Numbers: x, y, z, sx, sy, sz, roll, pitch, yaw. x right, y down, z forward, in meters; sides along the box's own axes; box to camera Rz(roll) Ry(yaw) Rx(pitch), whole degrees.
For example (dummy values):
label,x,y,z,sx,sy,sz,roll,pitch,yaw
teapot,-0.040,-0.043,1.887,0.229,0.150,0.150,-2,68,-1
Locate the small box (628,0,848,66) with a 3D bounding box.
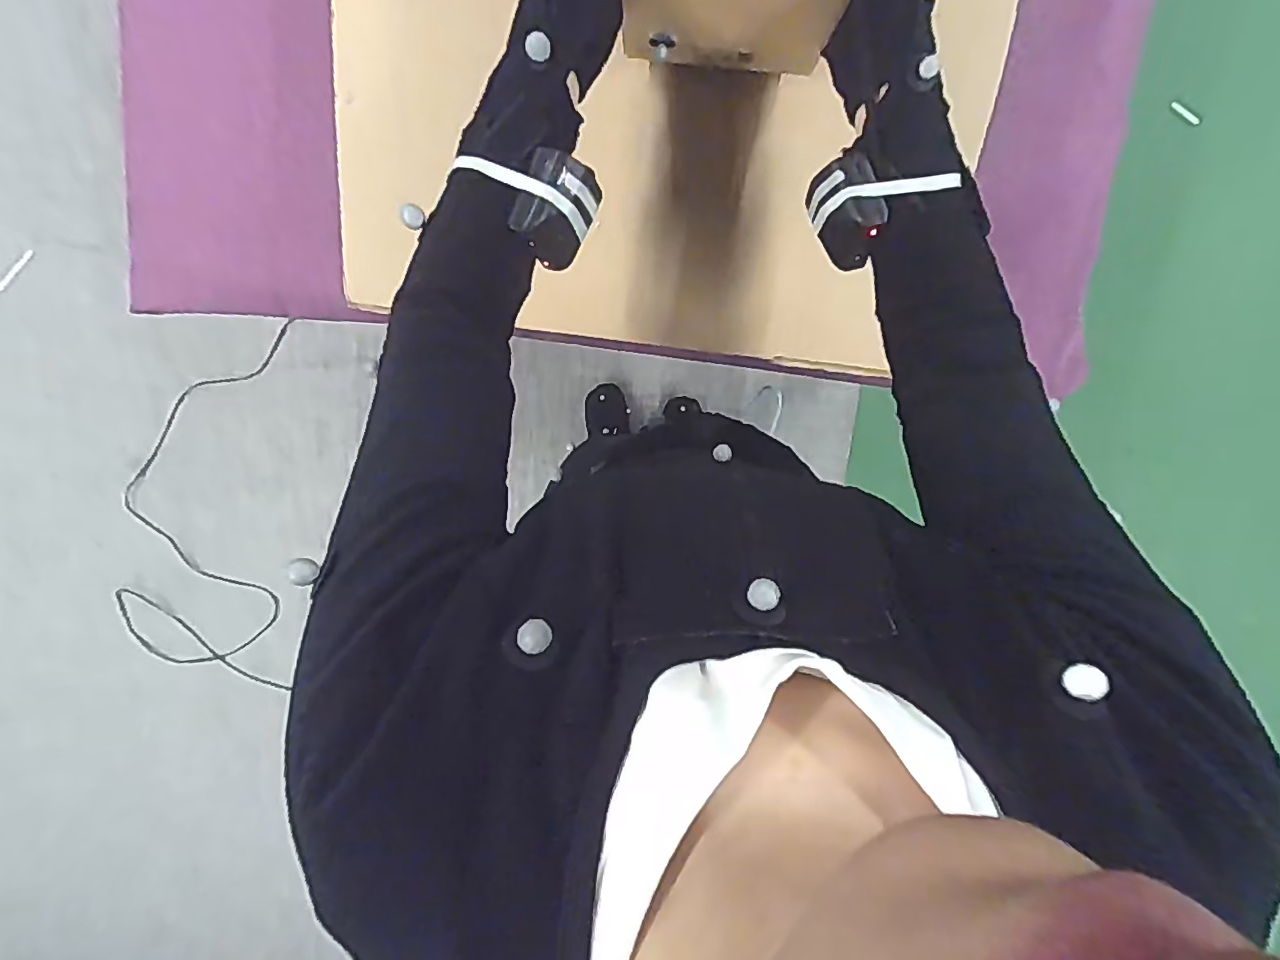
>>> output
label,x,y,z,sx,sy,sz,roll,pitch,yaw
small box,0.075,-0.423,0.372,0.168,0.176,0.179,2,103,0
